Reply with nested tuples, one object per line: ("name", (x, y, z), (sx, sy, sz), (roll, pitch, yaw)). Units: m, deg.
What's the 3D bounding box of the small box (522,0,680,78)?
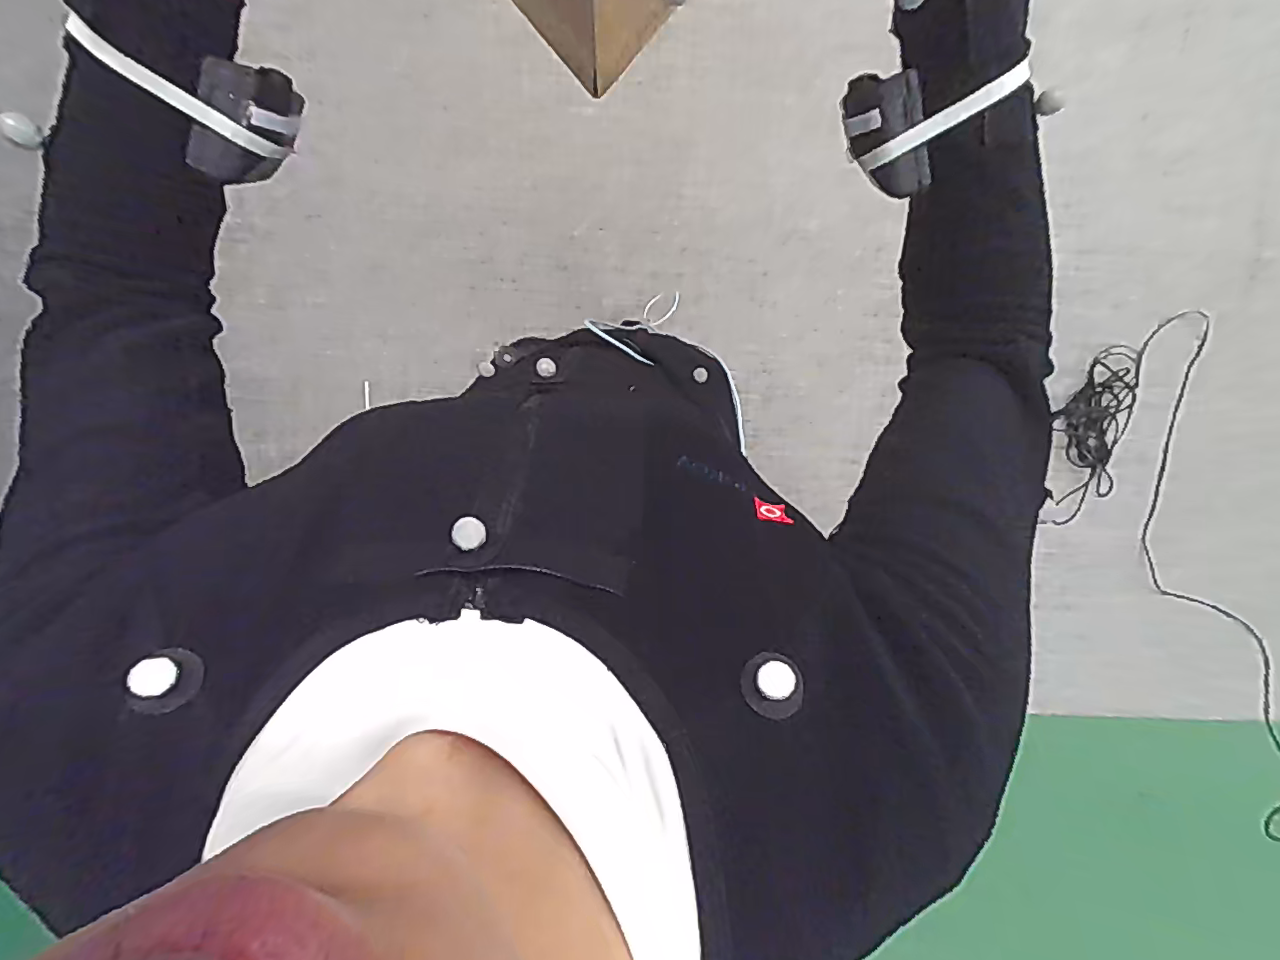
("small box", (-0.028, -0.377, 0.295), (0.168, 0.176, 0.179), (-44, 108, 11))
